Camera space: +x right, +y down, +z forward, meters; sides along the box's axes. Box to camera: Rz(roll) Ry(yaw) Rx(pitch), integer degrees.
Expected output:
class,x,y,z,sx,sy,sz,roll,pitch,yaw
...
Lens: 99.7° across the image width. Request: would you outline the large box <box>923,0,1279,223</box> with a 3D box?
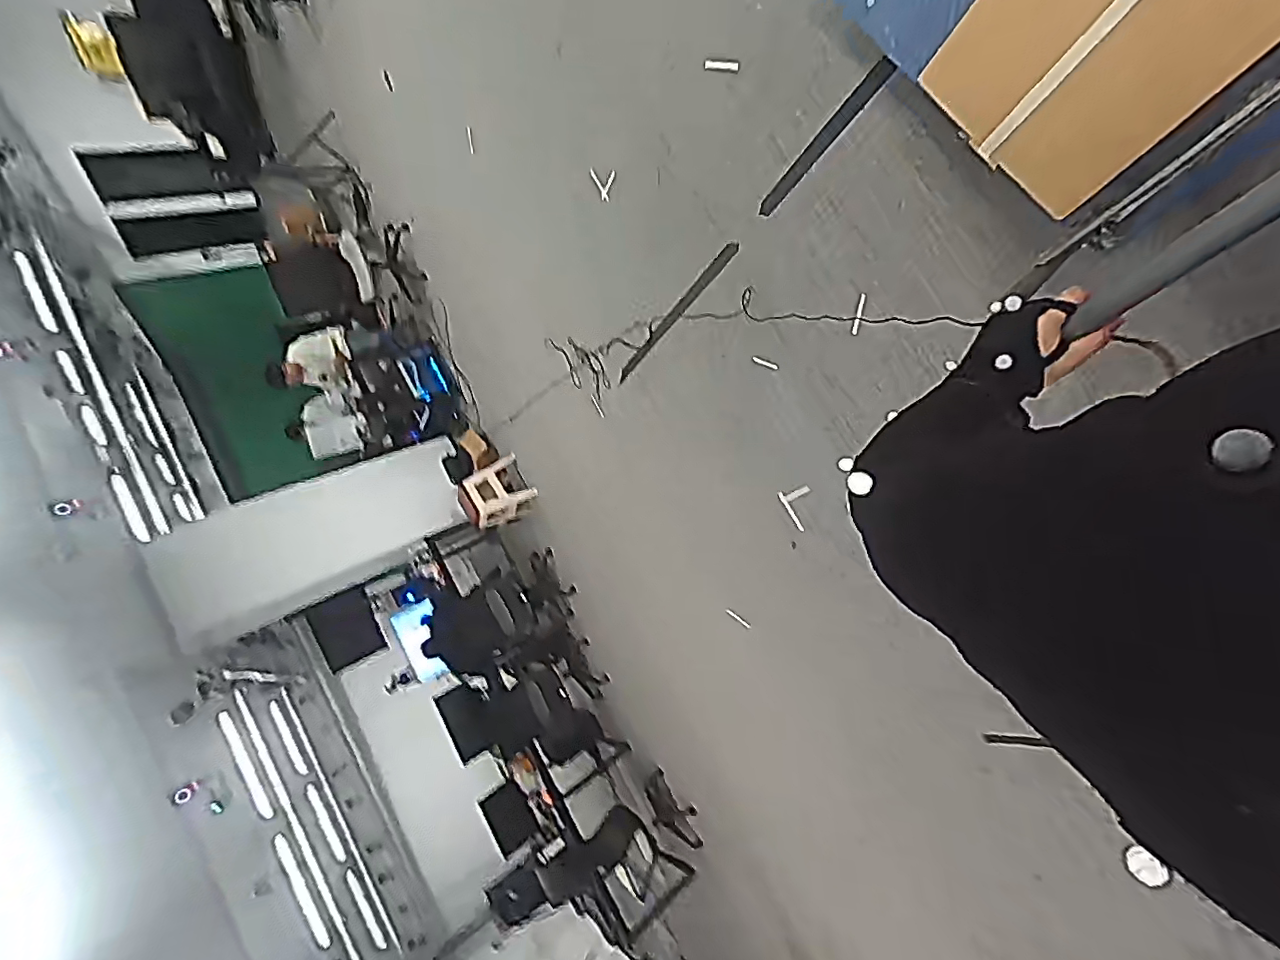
class,x,y,z,sx,sy,sz,roll,pitch,yaw
large box,0.691,-0.632,0.715,0.320,0.320,0.408,52,147,9
